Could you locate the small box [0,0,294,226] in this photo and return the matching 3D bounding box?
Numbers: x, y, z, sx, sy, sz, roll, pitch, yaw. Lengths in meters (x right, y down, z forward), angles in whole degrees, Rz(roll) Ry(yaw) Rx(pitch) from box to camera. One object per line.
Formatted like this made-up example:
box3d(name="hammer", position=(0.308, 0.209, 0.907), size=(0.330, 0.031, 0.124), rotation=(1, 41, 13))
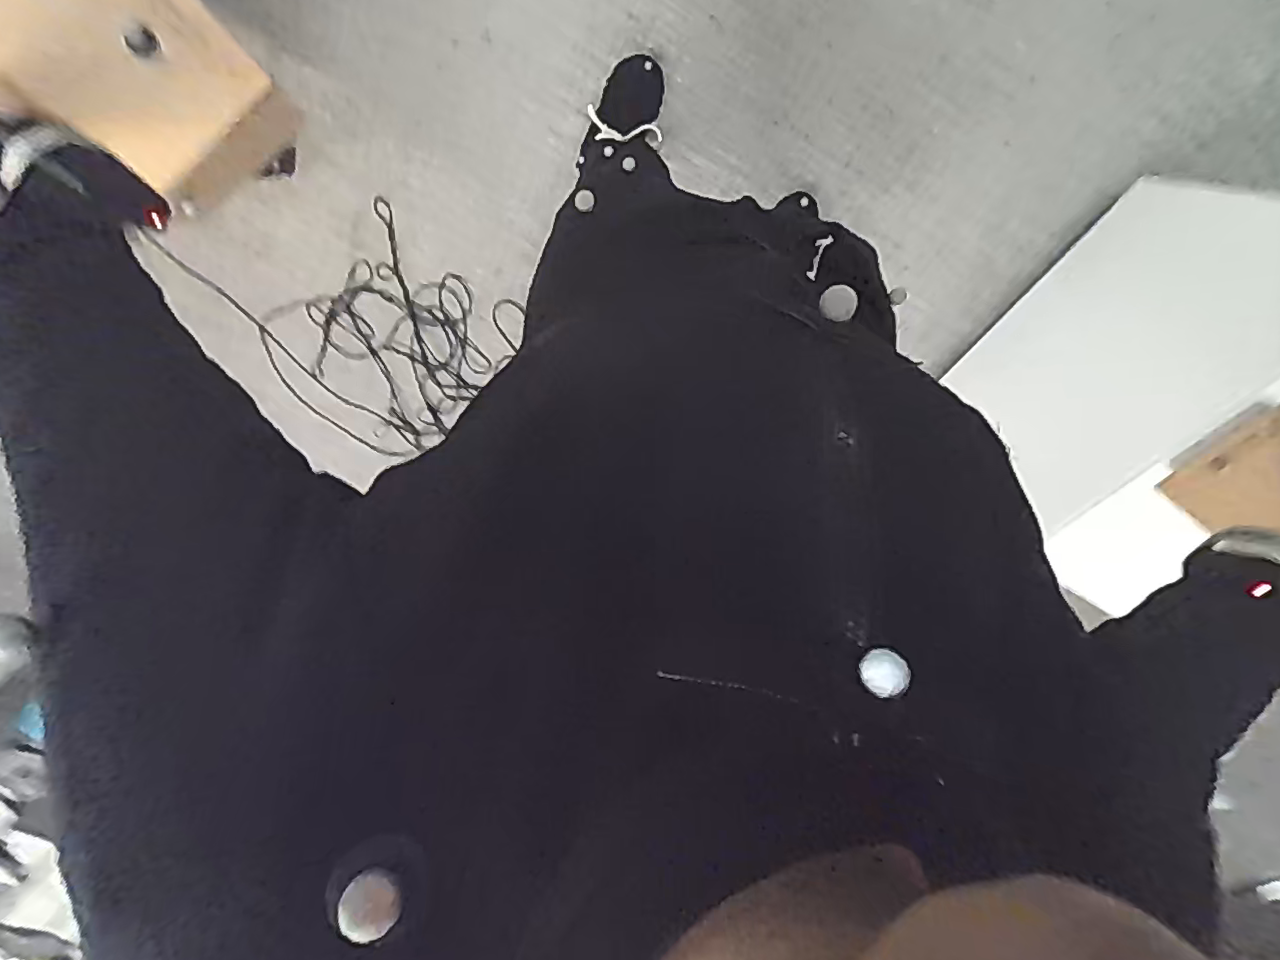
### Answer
box3d(name="small box", position=(-0.436, -0.347, 0.464), size=(0.176, 0.179, 0.168), rotation=(-44, 123, 1))
